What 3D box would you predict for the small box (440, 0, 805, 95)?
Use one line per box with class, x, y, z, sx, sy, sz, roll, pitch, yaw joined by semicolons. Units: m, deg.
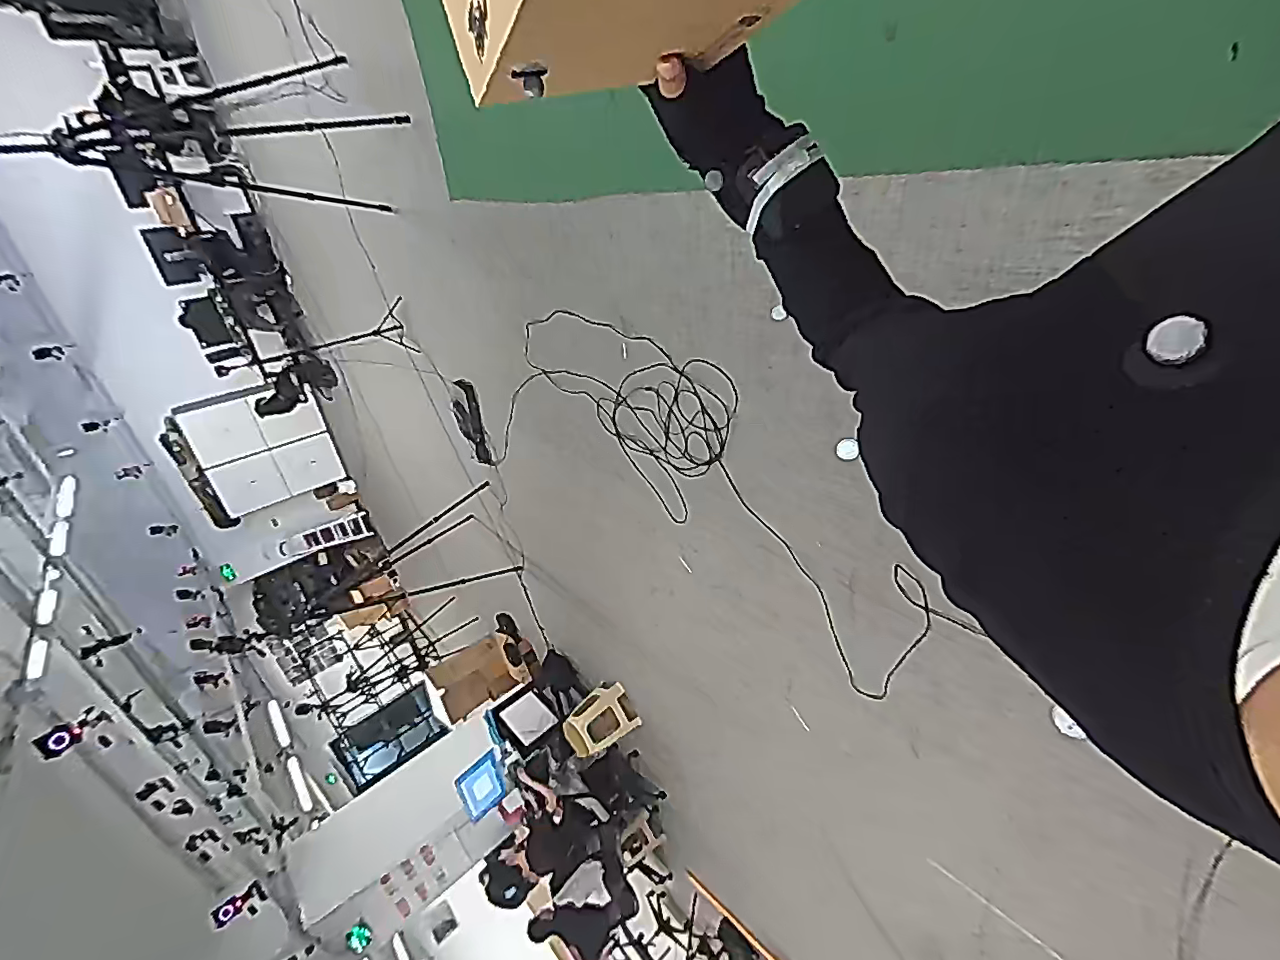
small box;-0.019;-0.327;0.273;0.168;0.176;0.179;36;143;60
